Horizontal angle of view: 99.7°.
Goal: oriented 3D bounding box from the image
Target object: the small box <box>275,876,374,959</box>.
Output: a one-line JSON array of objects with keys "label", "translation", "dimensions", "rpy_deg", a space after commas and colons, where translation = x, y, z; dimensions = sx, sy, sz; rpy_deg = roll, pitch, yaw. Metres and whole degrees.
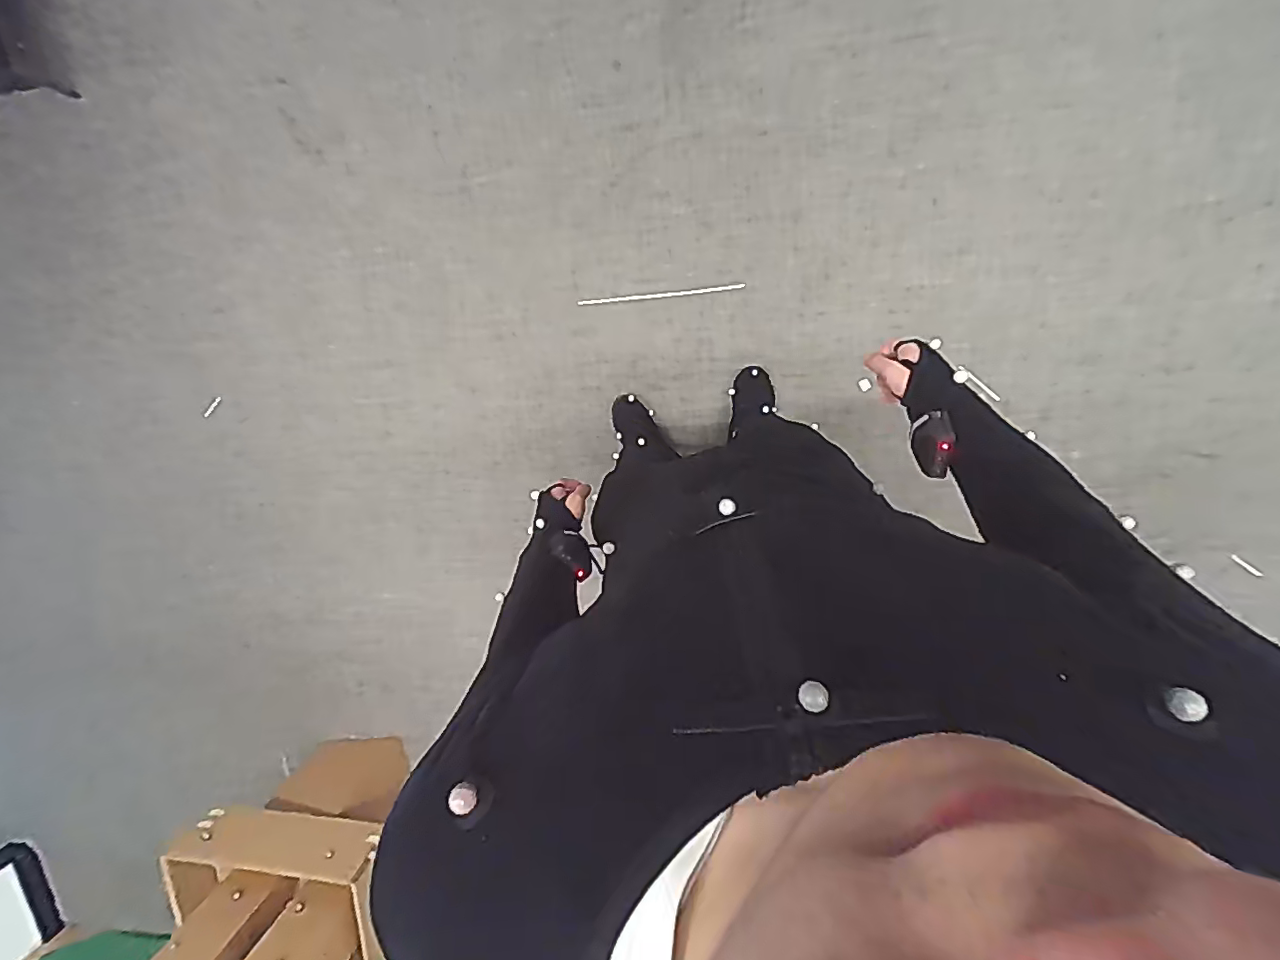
[{"label": "small box", "translation": [-0.904, 1.293, 1.563], "dimensions": [0.179, 0.176, 0.168], "rpy_deg": [2, 102, 10]}]

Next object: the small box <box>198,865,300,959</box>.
[{"label": "small box", "translation": [-1.153, 1.287, 1.608], "dimensions": [0.179, 0.176, 0.168], "rpy_deg": [-1, 101, 6]}]
